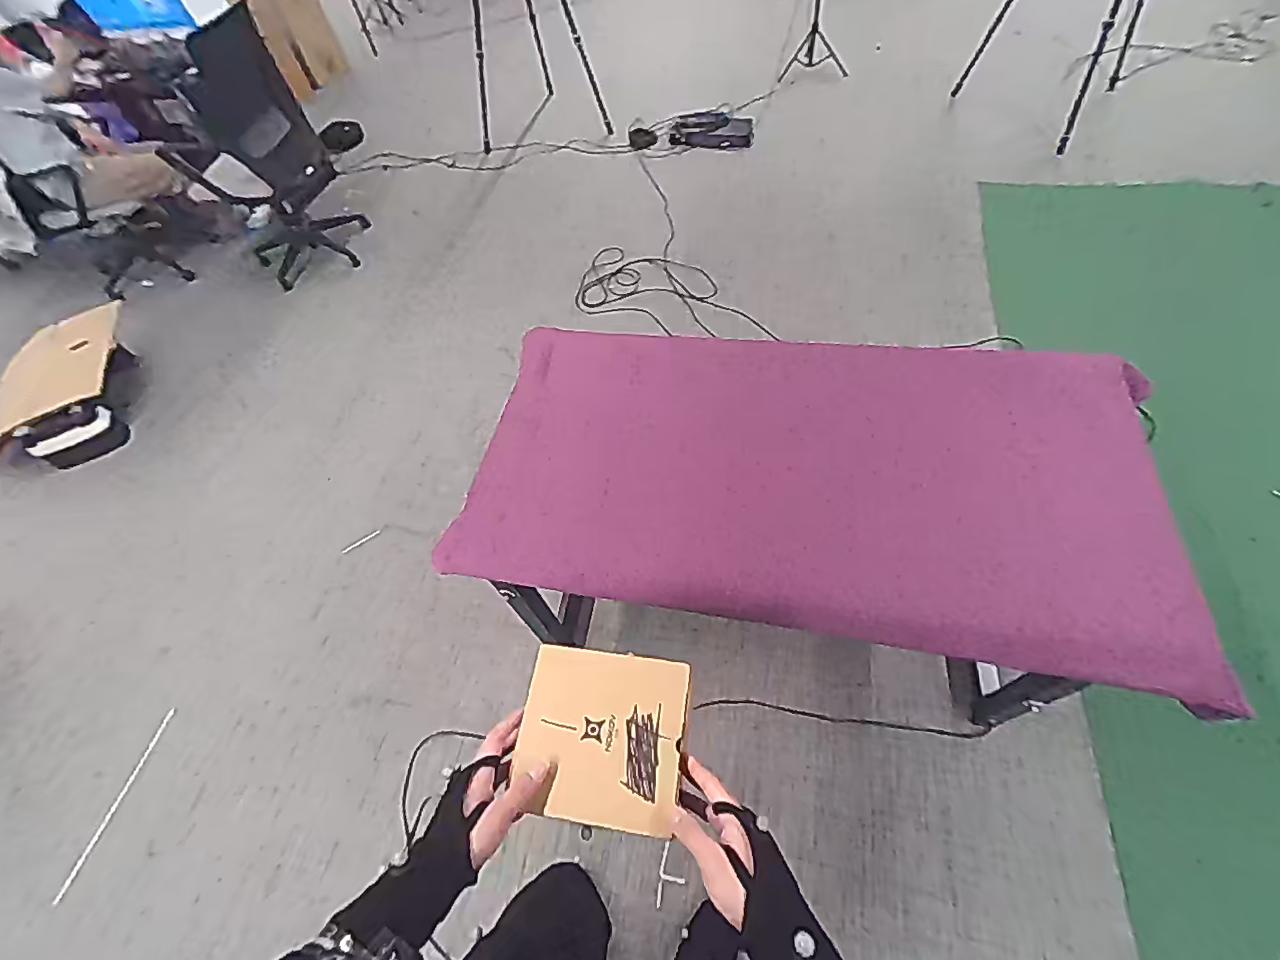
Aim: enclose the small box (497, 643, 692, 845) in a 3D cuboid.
[{"bbox_3d":[-0.036,0.303,0.624,0.179,0.176,0.168,5,58,9],"label":"small box"}]
